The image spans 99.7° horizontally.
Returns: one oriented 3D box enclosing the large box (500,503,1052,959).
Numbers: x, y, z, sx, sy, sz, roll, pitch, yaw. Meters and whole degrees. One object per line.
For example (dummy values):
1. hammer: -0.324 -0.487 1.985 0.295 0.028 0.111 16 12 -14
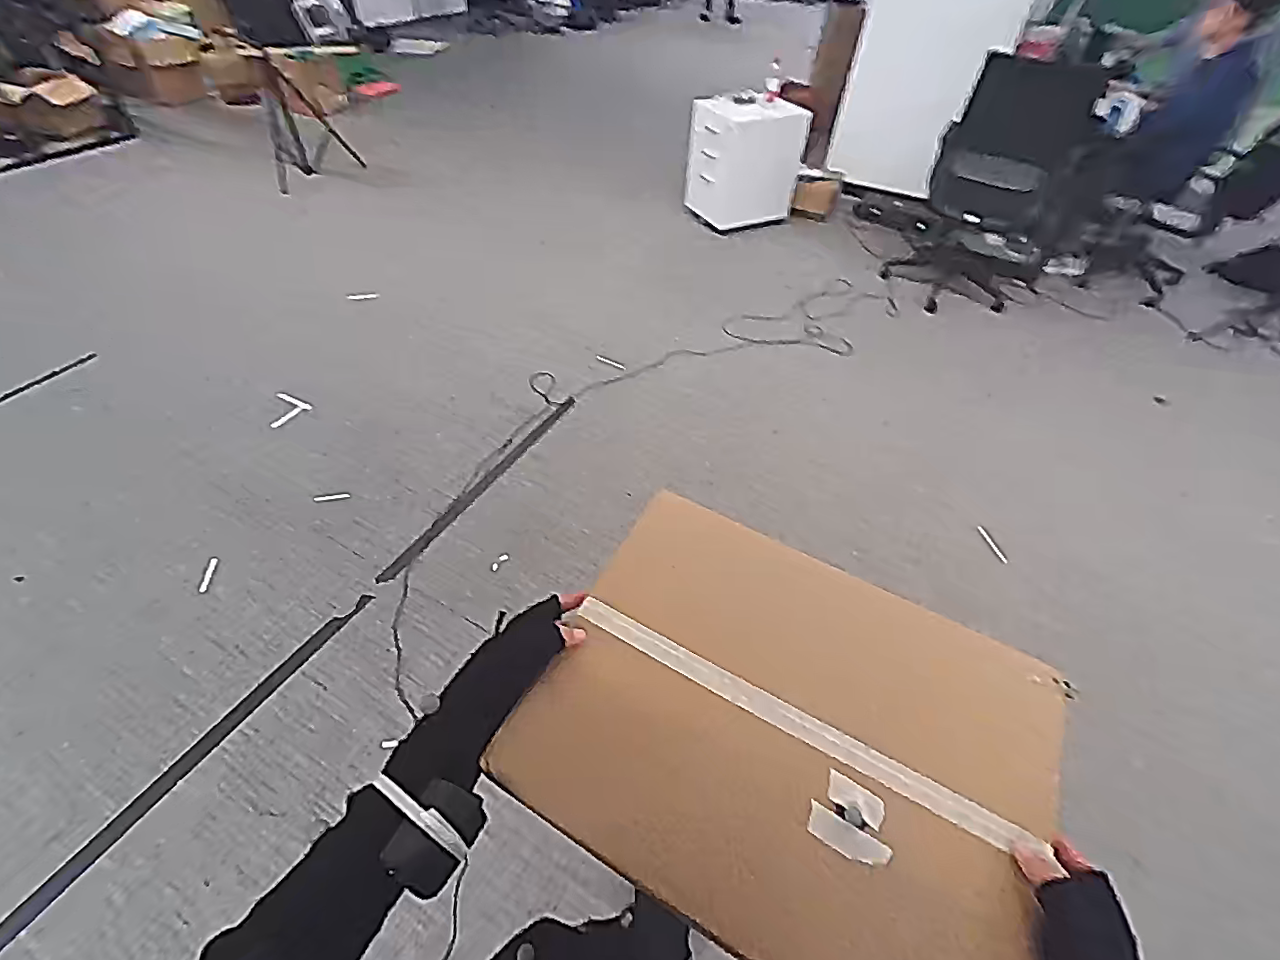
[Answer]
1. large box: 0.124 0.294 0.585 0.408 0.320 0.320 25 58 17
